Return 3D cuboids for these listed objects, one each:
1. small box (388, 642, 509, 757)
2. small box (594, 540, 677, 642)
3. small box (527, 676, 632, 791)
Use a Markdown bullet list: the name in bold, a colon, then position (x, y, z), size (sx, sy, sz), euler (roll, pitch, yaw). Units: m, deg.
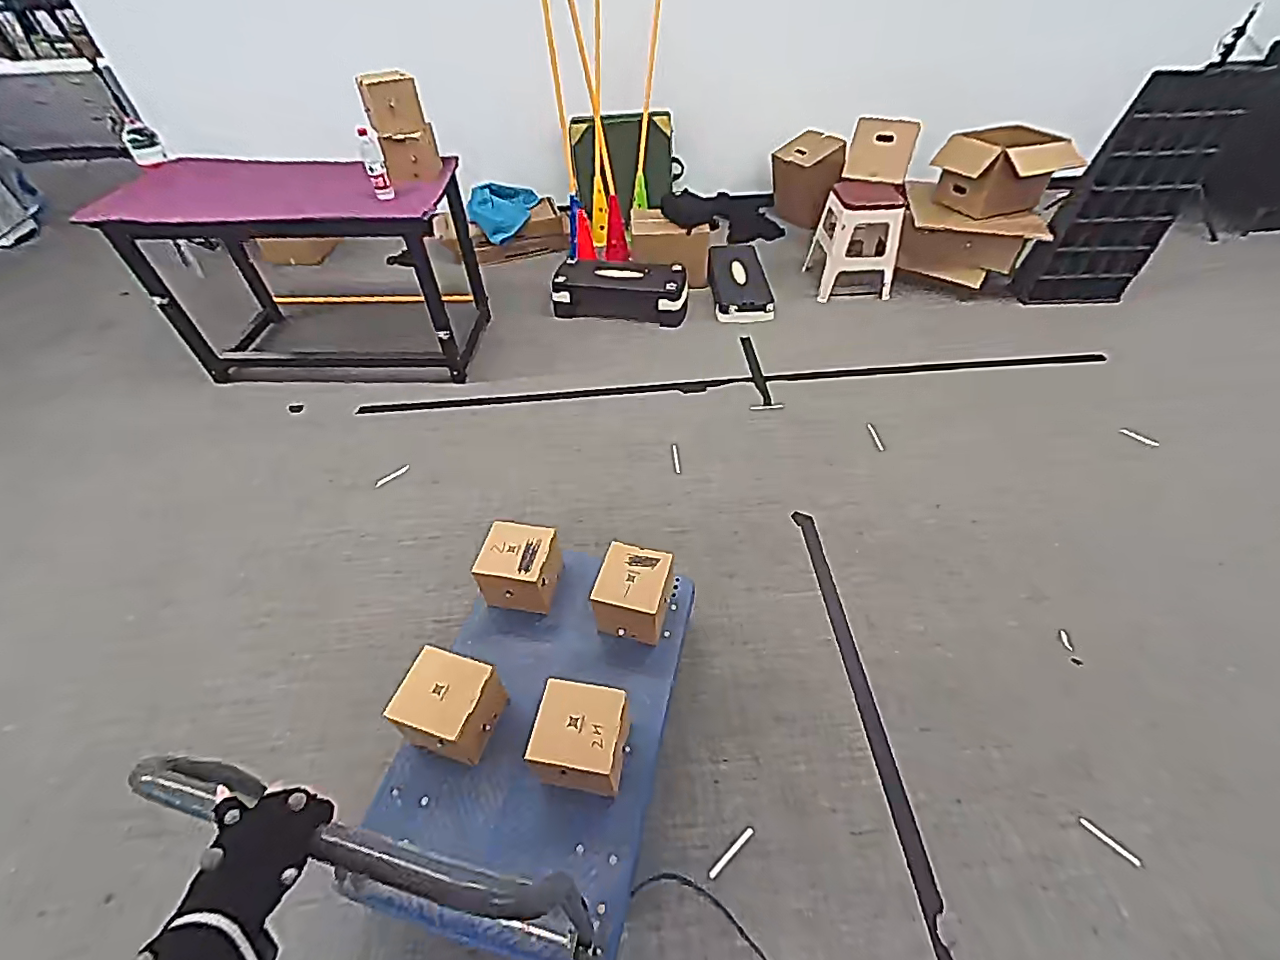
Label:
- **small box**: position (-0.419, 0.495, 1.213), size (0.179, 0.176, 0.168), euler (13, 49, 12)
- **small box**: position (-0.007, 0.284, 1.384), size (0.168, 0.176, 0.179), euler (11, 50, 13)
- **small box**: position (-0.119, 0.543, 1.155), size (0.179, 0.176, 0.168), euler (7, 49, 9)
